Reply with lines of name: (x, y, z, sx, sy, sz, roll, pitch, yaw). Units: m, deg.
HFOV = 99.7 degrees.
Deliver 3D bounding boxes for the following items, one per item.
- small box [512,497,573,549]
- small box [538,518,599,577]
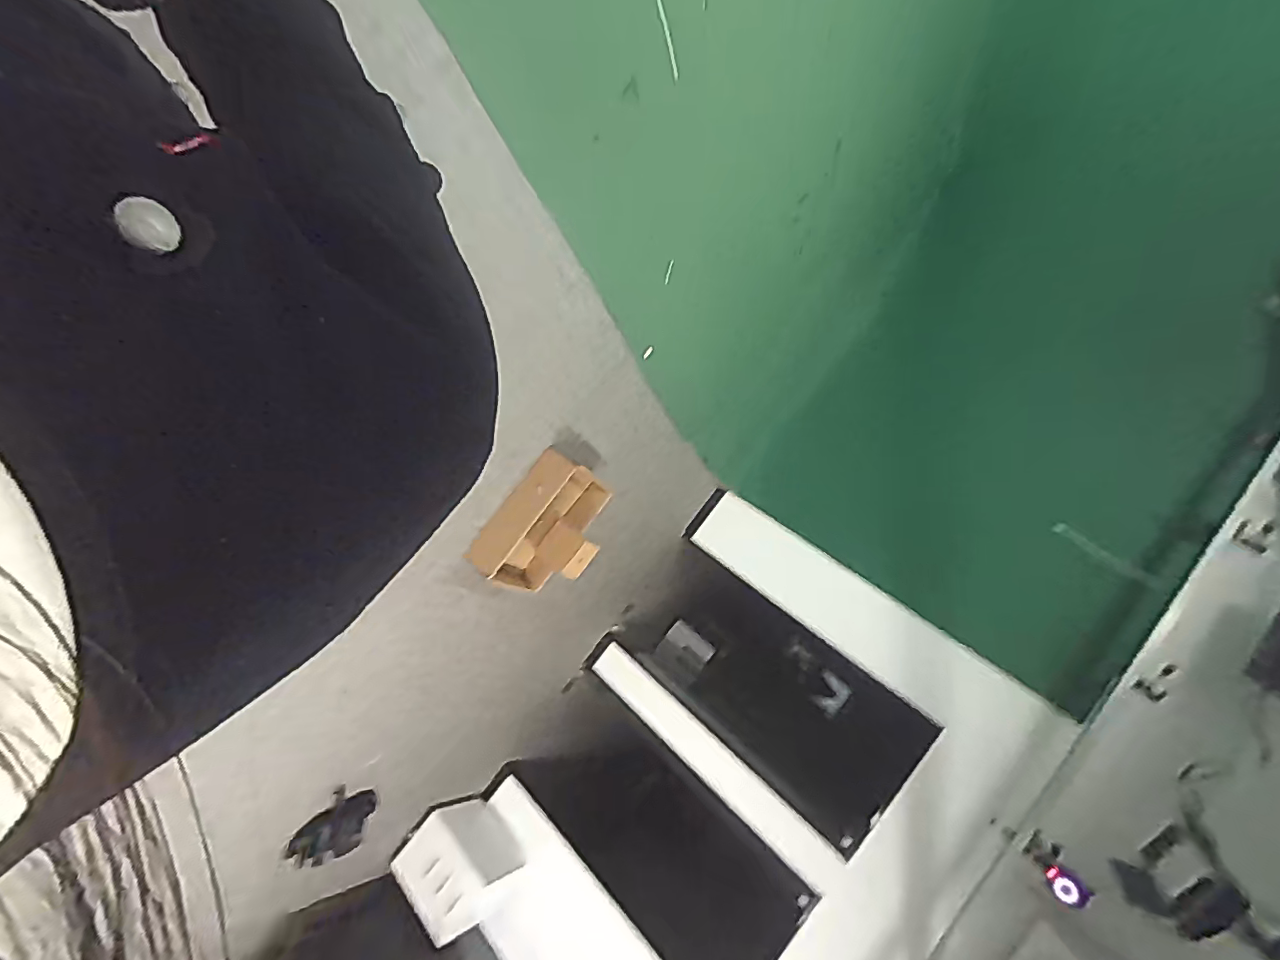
small box: (-0.442, 0.202, 2.439, 0.179, 0.176, 0.168, -54, 155, -2)
small box: (-0.319, 0.295, 2.342, 0.179, 0.176, 0.168, -54, 154, 0)
